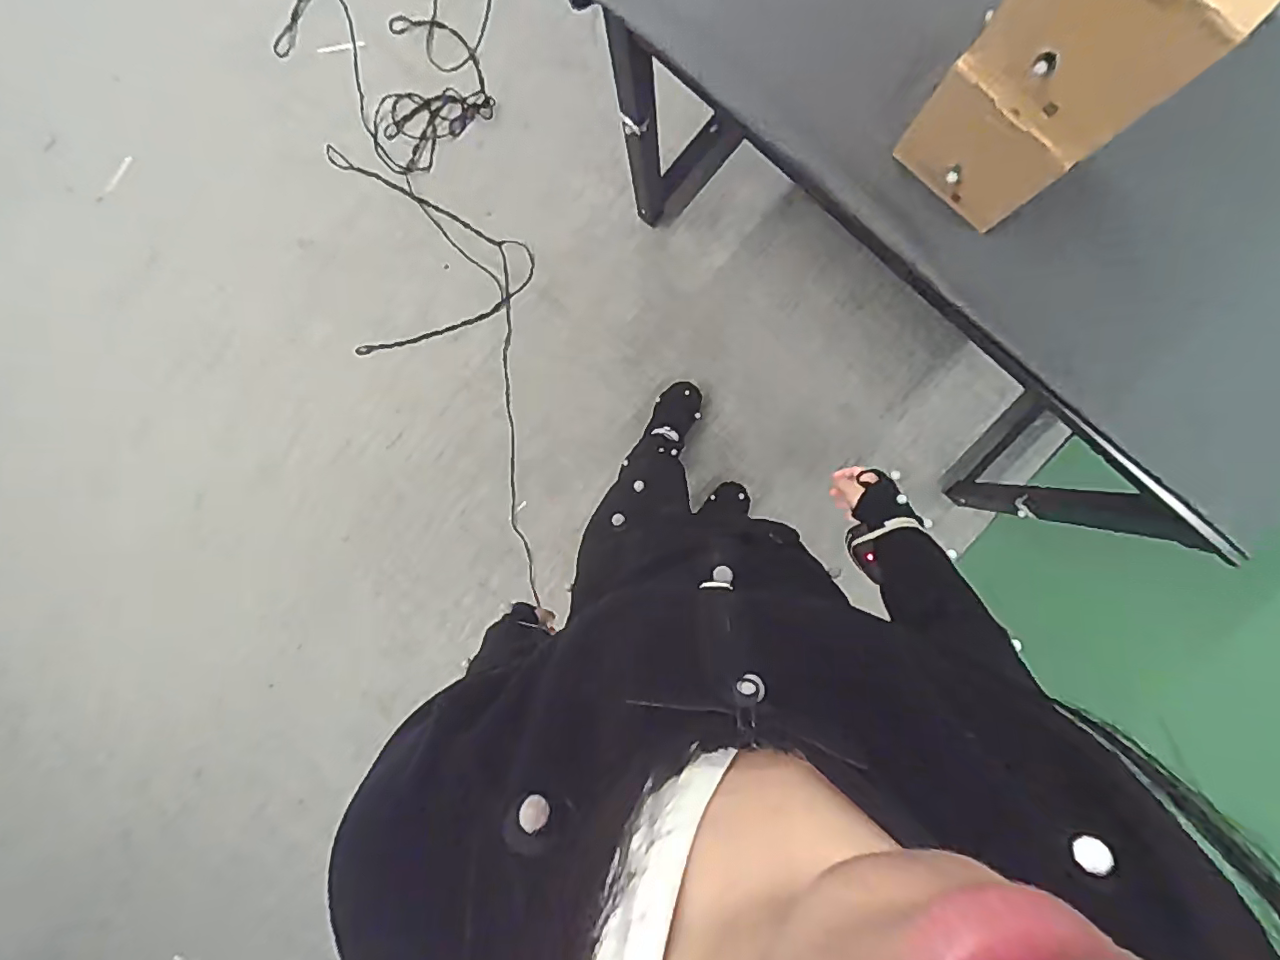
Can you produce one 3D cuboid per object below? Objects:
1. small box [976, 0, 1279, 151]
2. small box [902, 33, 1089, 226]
[{"bbox_3d":[0.448,-0.445,0.470,0.168,0.176,0.179,44,94,1],"label":"small box"},{"bbox_3d":[0.451,-0.445,0.633,0.168,0.176,0.179,43,94,2],"label":"small box"}]
